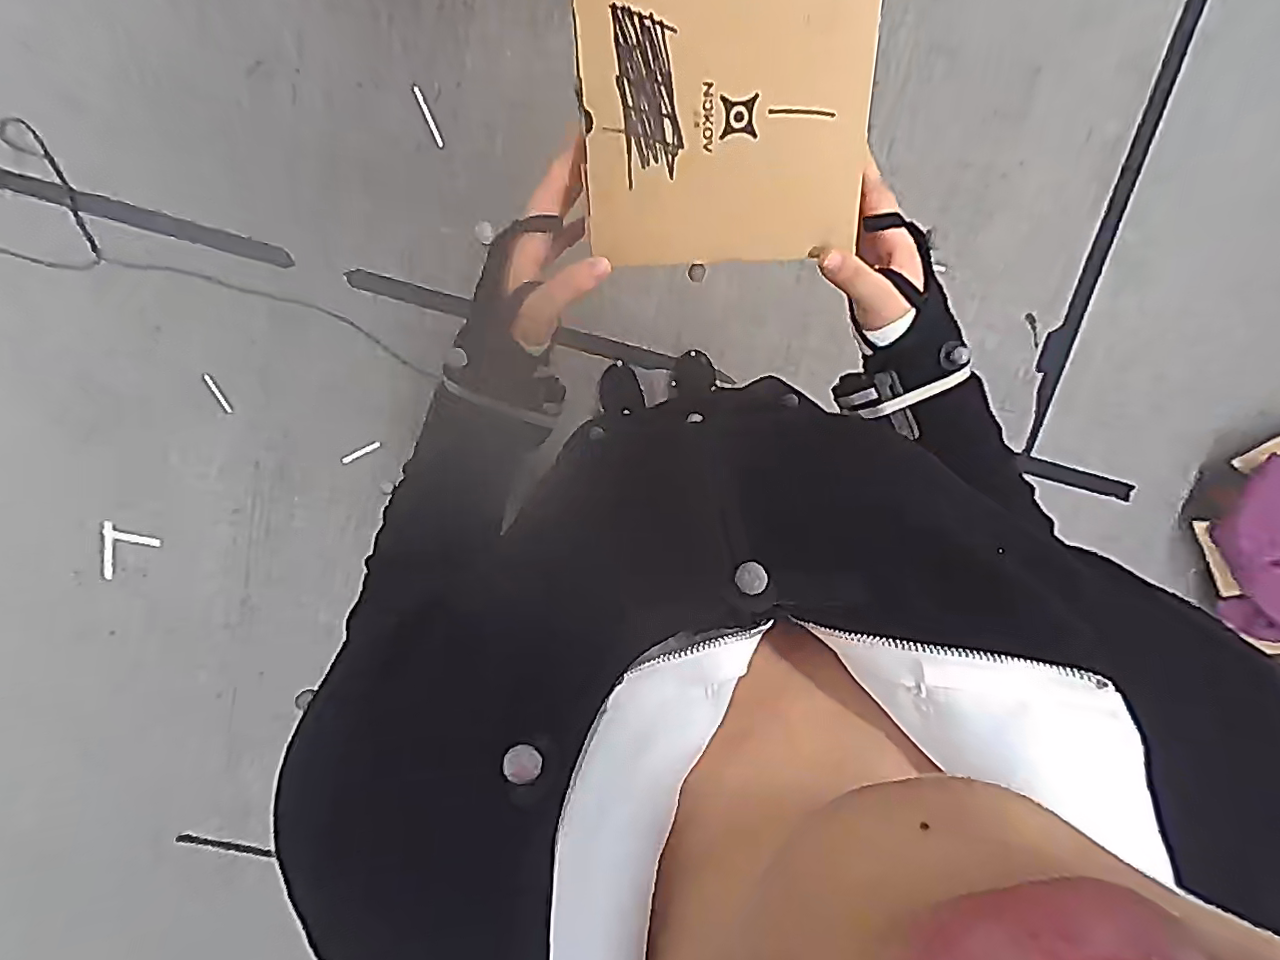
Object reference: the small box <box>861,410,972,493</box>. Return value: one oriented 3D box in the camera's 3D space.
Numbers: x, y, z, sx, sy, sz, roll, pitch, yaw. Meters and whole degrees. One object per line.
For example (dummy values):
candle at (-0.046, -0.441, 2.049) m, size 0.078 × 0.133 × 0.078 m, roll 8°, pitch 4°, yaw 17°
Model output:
small box at (0.706, -0.081, 1.406) m, size 0.179 × 0.176 × 0.168 m, roll 16°, pitch 102°, yaw -3°

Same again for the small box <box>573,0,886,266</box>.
small box at (0.052, -0.249, 0.395) m, size 0.179 × 0.176 × 0.168 m, roll -3°, pitch 115°, yaw 0°
